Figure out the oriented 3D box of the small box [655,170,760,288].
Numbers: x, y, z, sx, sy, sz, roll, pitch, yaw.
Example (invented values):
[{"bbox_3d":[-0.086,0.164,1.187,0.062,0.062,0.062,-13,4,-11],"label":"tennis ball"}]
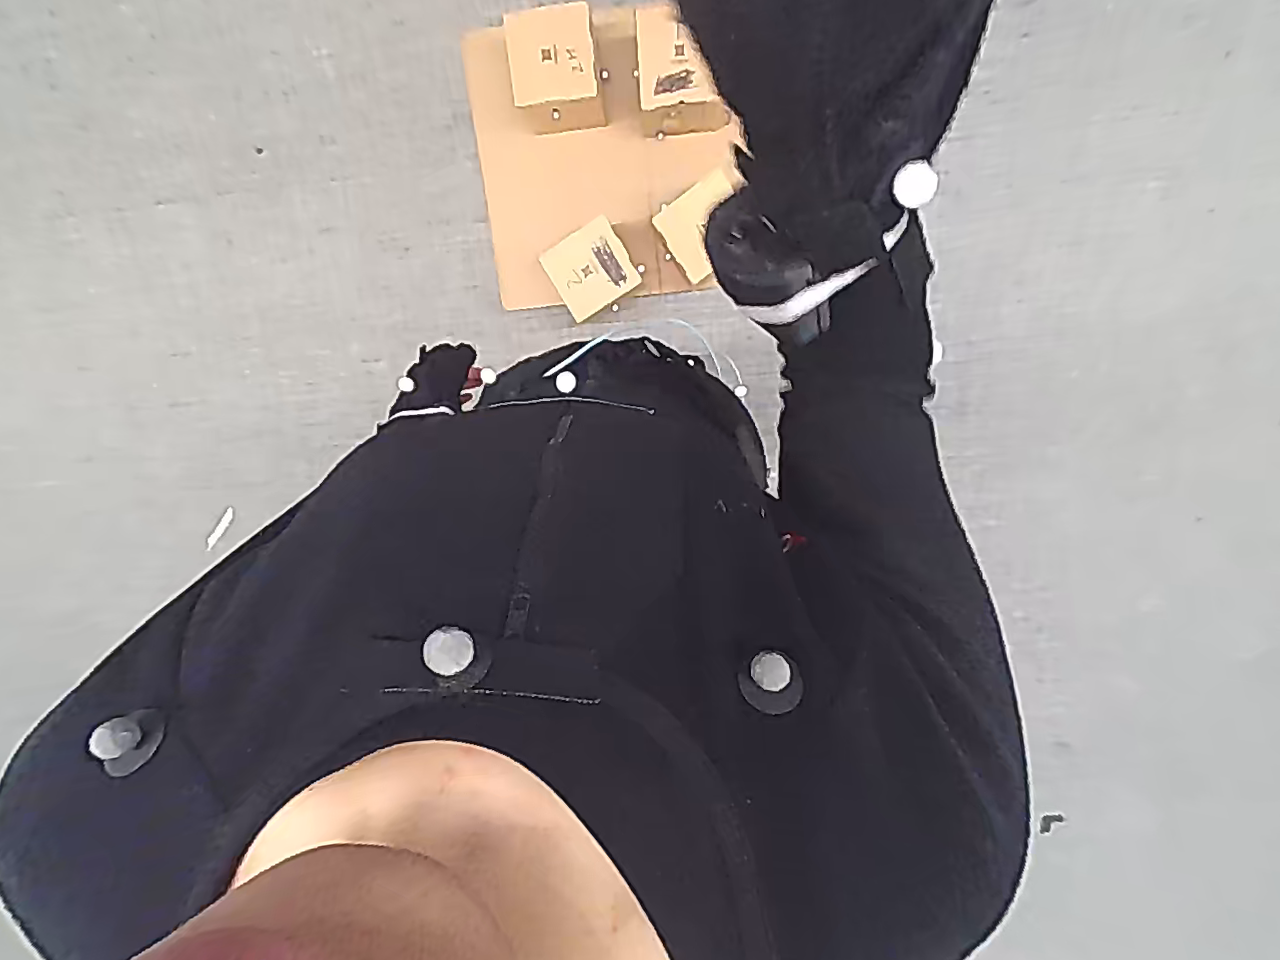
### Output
[{"bbox_3d":[0.151,-0.562,1.239,0.179,0.176,0.168,-33,100,13],"label":"small box"}]
